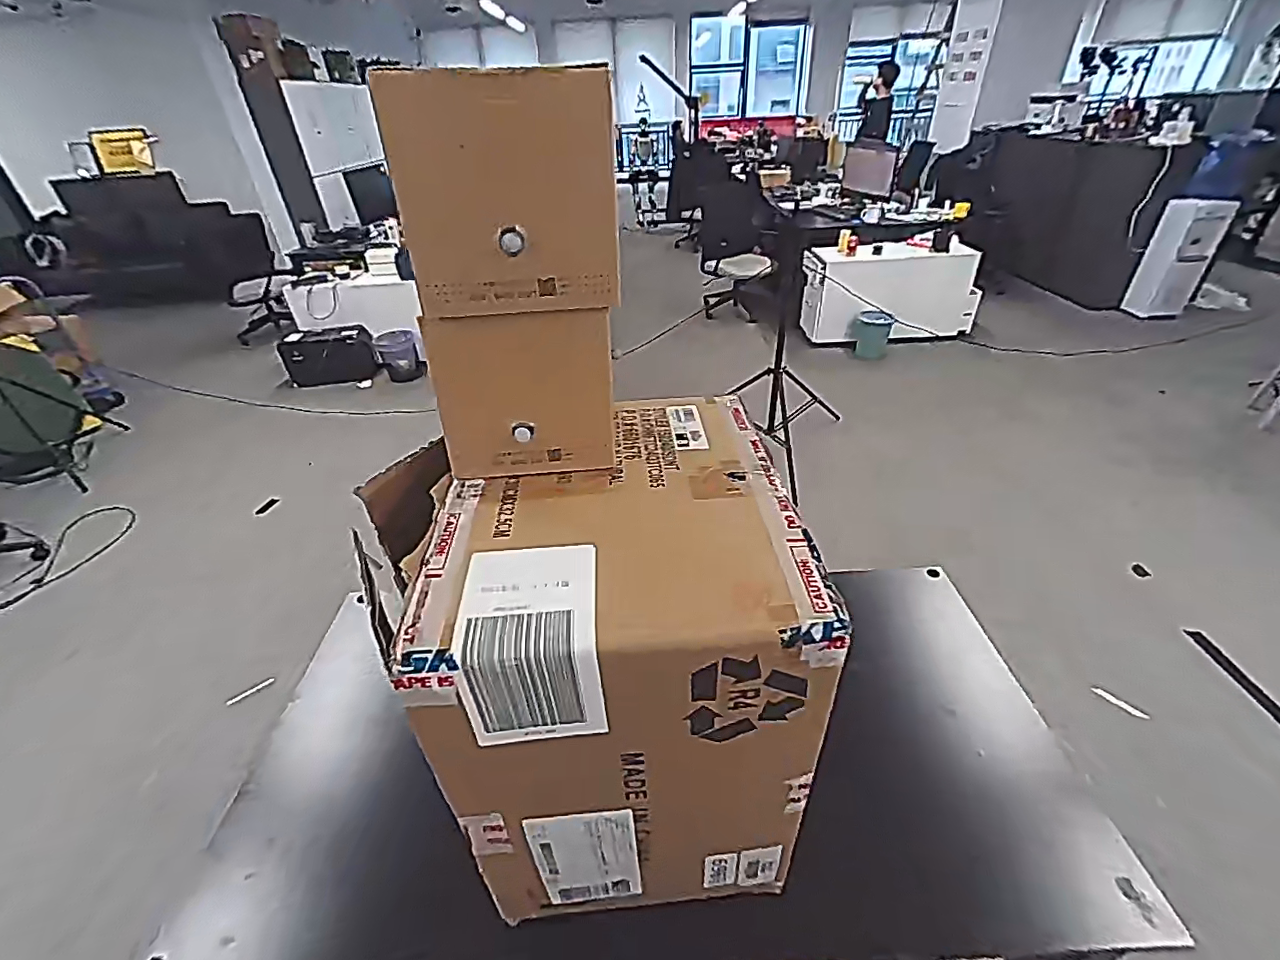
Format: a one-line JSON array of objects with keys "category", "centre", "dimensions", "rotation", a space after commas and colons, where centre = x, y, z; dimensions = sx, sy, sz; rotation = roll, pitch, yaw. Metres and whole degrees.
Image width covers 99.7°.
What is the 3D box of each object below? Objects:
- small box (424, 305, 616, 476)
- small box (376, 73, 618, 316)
[{"category": "small box", "centre": [-0.115, -0.120, 0.586], "dimensions": [0.168, 0.176, 0.179], "rotation": [-5, 34, -5]}, {"category": "small box", "centre": [-0.111, -0.255, 0.489], "dimensions": [0.168, 0.176, 0.179], "rotation": [-6, 33, -6]}]
